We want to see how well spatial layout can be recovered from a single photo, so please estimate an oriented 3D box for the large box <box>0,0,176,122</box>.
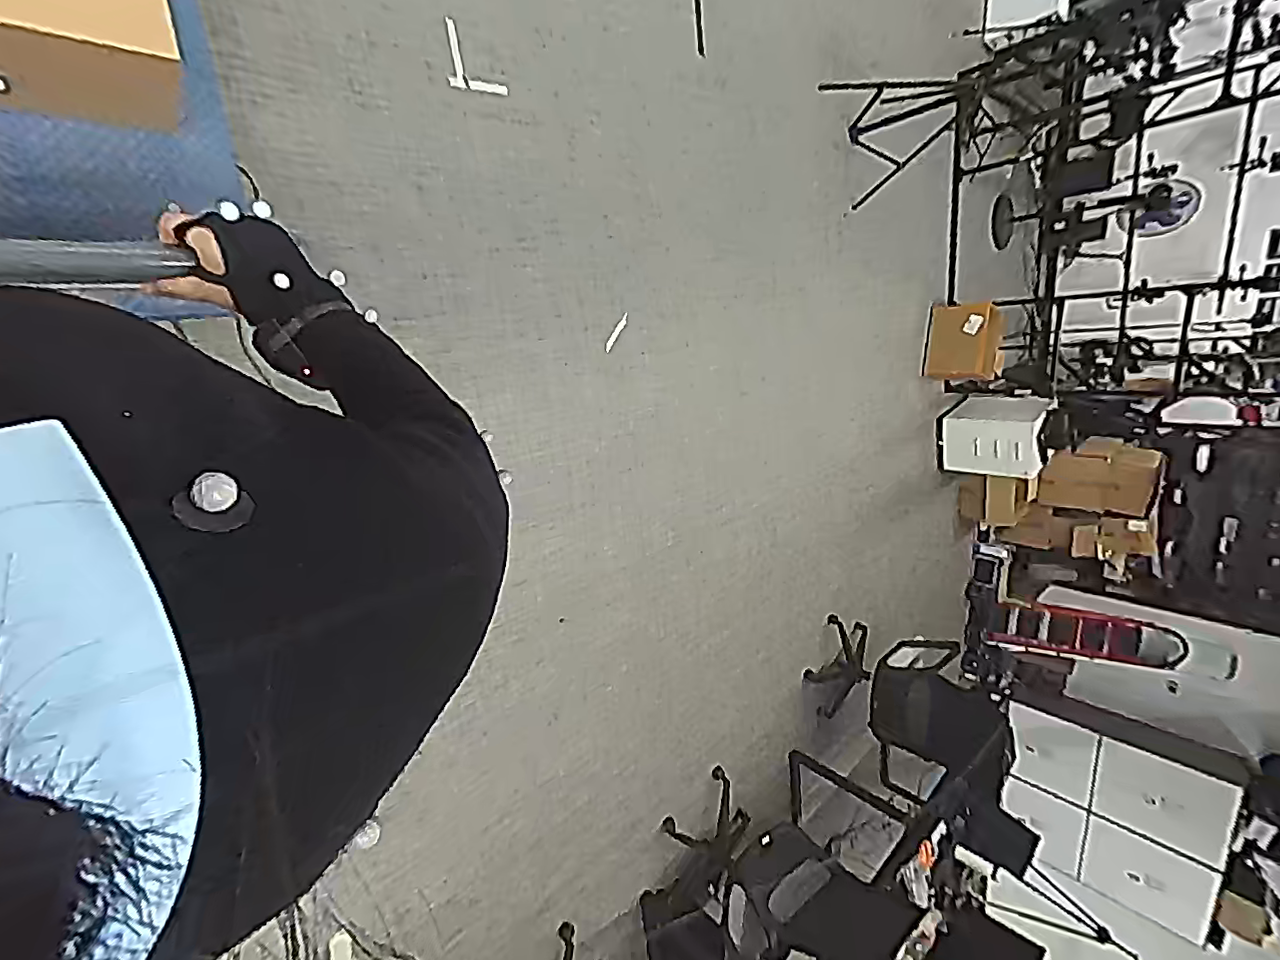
[{"bbox_3d":[-0.904,-0.717,0.703,0.408,0.320,0.320,-16,107,-38],"label":"large box"}]
